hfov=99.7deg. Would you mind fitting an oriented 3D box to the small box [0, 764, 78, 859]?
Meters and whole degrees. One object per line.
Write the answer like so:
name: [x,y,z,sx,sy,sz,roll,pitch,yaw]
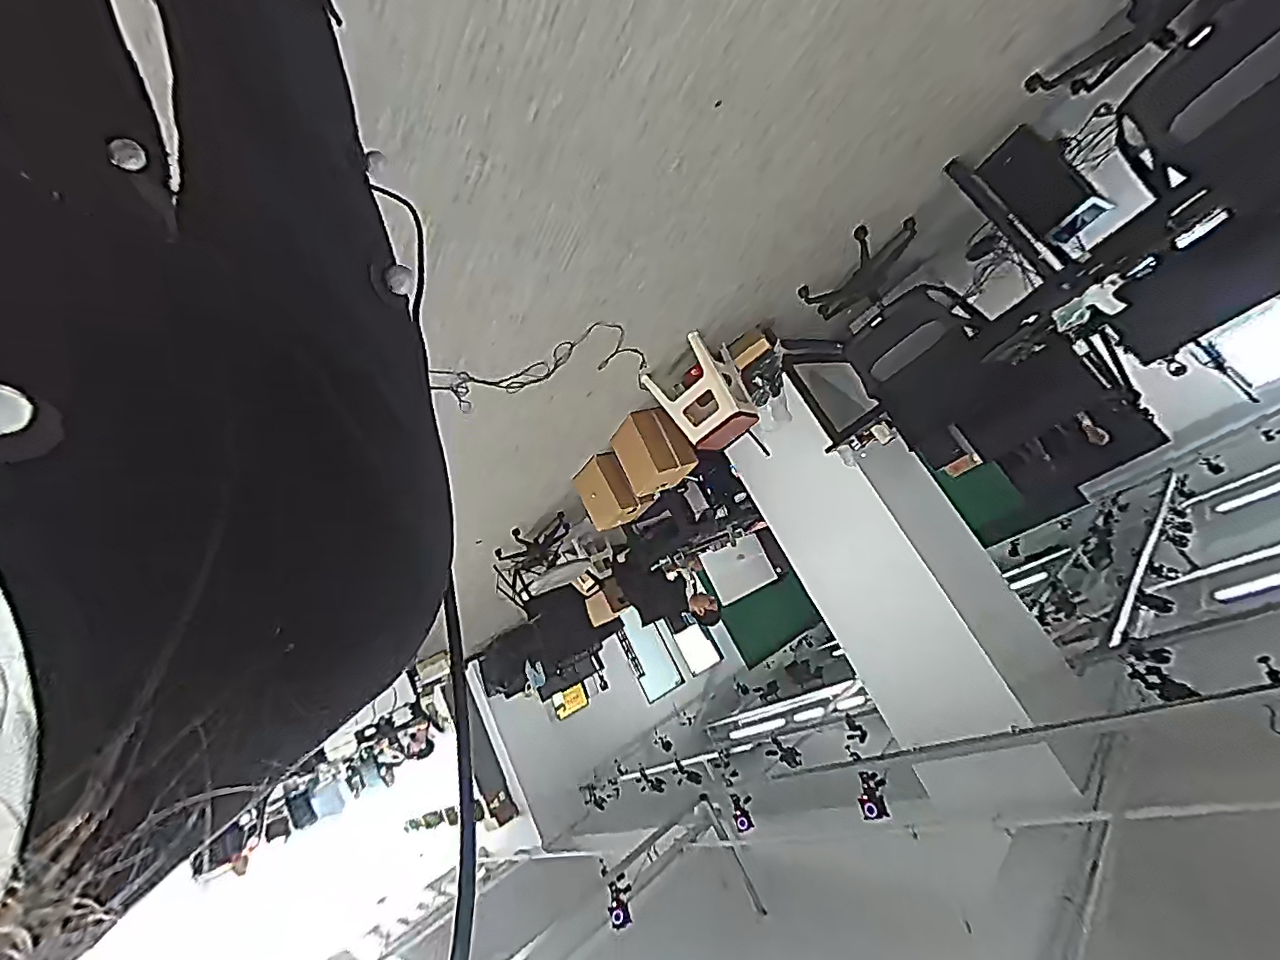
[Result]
small box: [-1.711,0.922,1.499,0.179,0.176,0.168,-15,159,-40]
